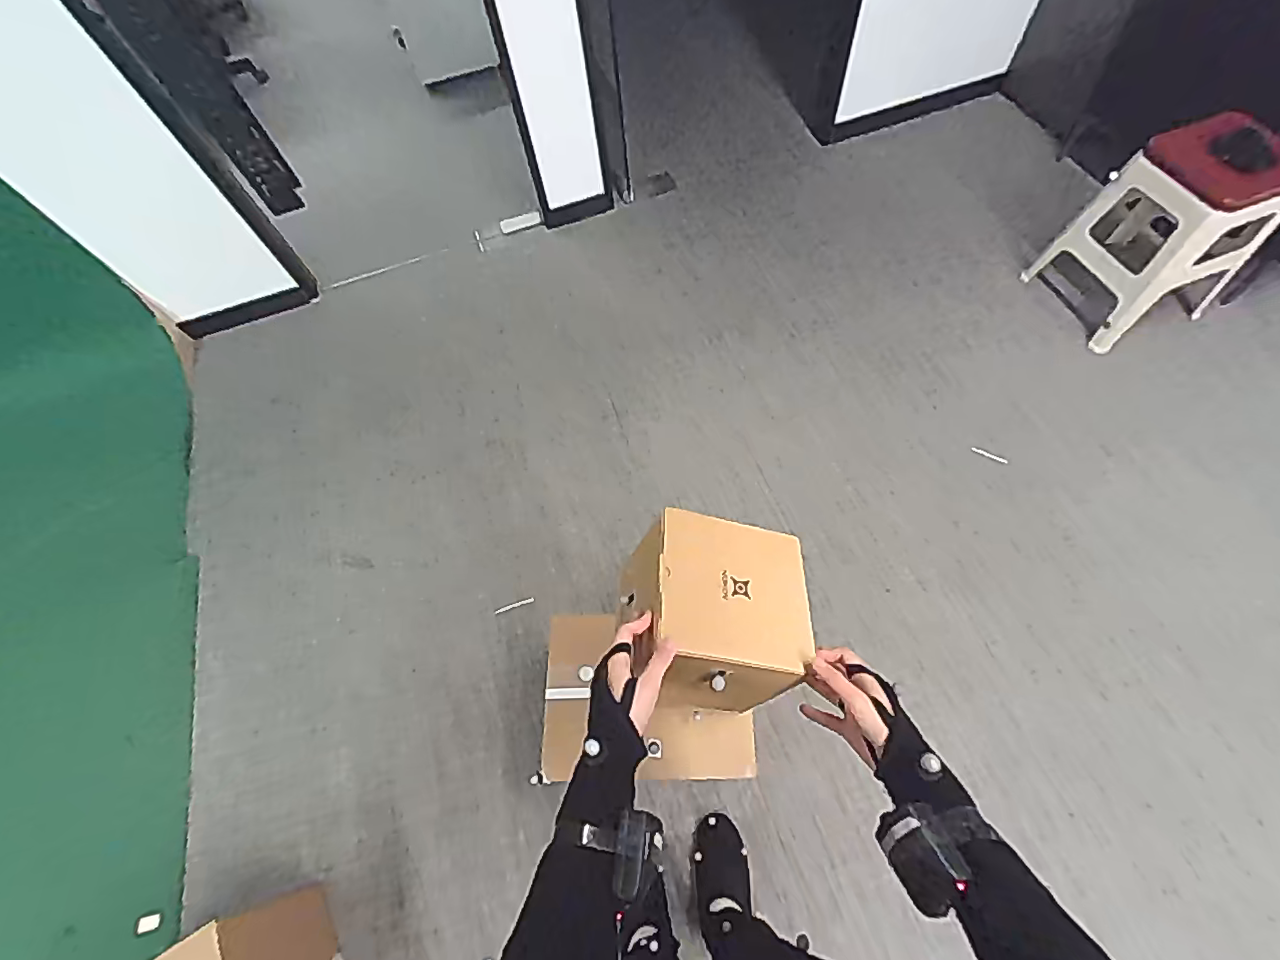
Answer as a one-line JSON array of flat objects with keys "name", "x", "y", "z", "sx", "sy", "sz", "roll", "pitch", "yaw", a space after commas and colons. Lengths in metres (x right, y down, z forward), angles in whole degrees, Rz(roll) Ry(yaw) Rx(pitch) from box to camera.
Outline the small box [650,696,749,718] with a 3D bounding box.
[{"name": "small box", "x": 0.106, "y": 0.336, "z": 0.999, "sx": 0.168, "sy": 0.176, "sz": 0.179, "roll": -2, "pitch": 61, "yaw": 5}]

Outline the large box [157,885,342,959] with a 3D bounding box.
[{"name": "large box", "x": -0.812, "y": 1.056, "z": 0.993, "sx": 0.408, "sy": 0.320, "sz": 0.320, "roll": -31, "pitch": 64, "yaw": -9}]

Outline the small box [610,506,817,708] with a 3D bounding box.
[{"name": "small box", "x": 0.078, "y": 0.157, "z": 0.633, "sx": 0.179, "sy": 0.176, "sz": 0.168, "roll": 14, "pitch": 52, "yaw": -12}]
